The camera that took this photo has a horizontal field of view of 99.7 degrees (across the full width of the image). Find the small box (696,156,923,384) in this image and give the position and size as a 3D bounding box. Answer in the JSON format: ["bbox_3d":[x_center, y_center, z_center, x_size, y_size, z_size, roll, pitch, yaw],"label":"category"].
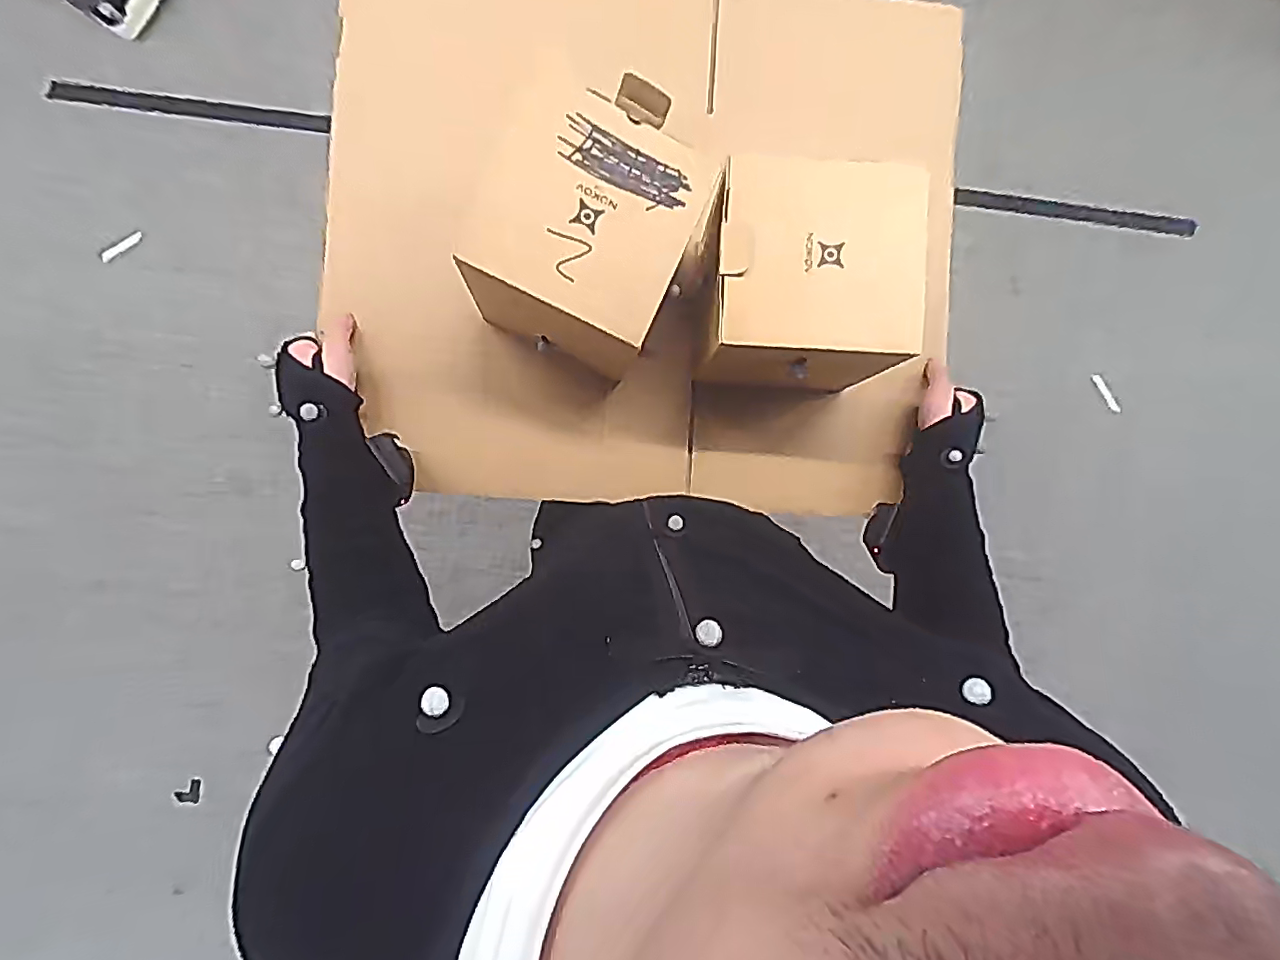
[{"bbox_3d":[0.158,-0.197,0.554,0.179,0.176,0.168,2,89,-1],"label":"small box"}]
